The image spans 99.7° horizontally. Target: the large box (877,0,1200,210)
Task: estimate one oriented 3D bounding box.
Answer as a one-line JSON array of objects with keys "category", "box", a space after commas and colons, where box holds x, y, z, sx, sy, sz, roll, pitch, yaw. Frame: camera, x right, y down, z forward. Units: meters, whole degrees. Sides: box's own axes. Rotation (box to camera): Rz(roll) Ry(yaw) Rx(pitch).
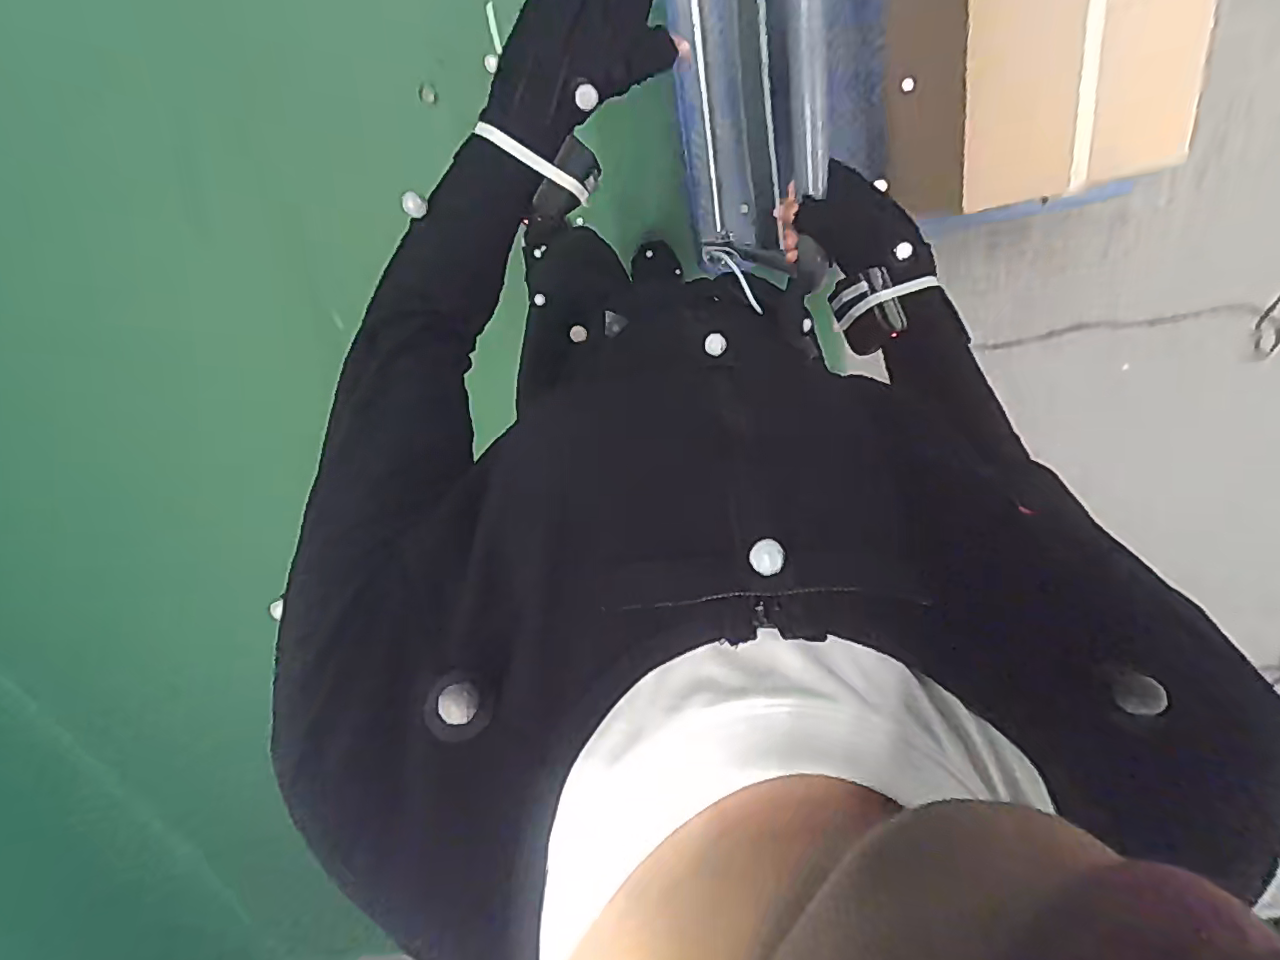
[{"category": "large box", "box": [0.592, -0.687, 0.858, 0.320, 0.320, 0.408, -12, 114, 6]}]
